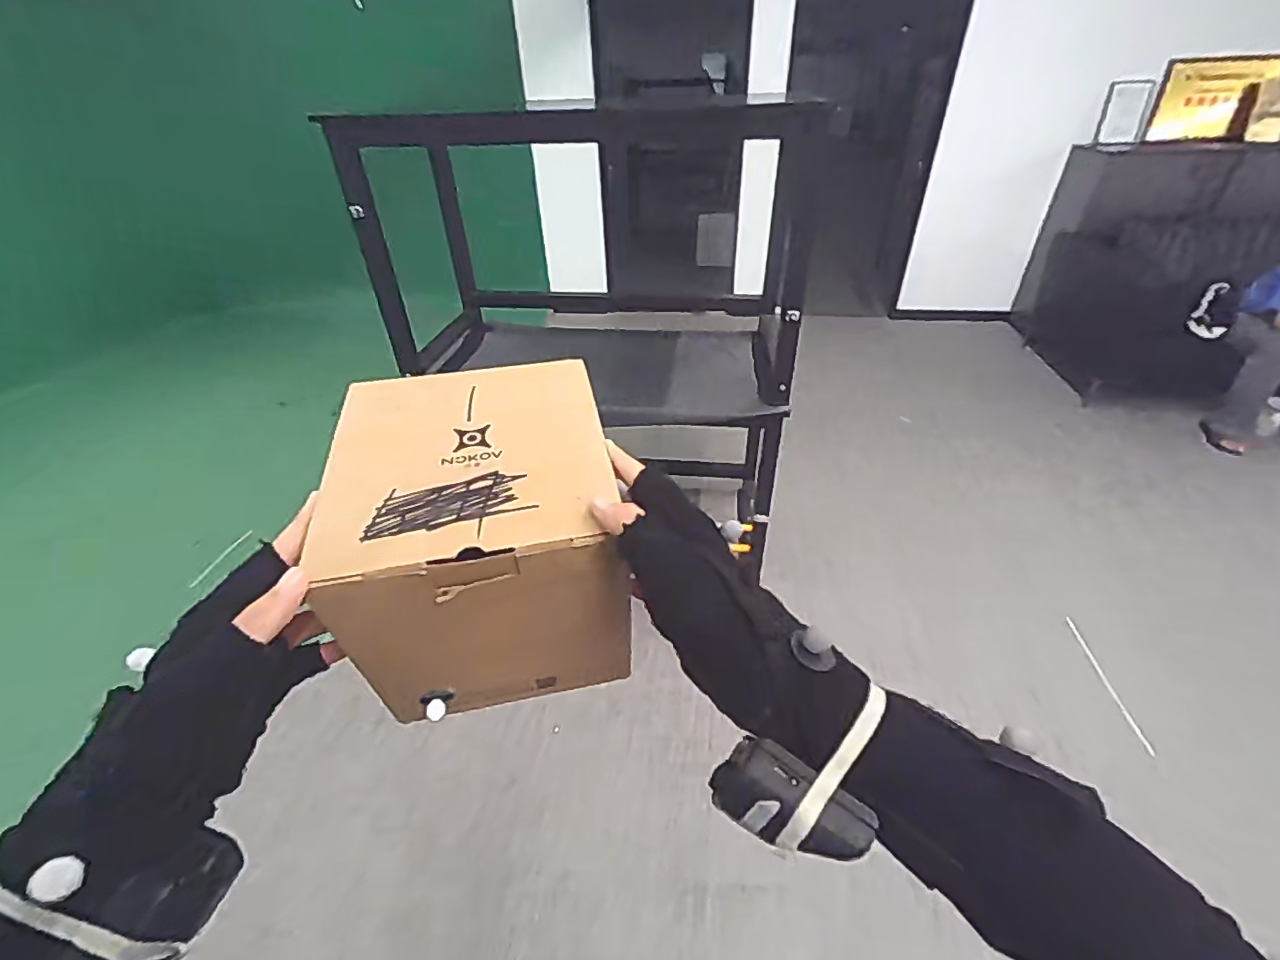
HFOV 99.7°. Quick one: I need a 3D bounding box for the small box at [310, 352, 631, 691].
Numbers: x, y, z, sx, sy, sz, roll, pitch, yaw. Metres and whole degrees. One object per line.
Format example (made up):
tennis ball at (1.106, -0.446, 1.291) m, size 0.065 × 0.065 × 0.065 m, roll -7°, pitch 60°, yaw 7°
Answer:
small box at (-0.101, 0.032, 0.391) m, size 0.168 × 0.176 × 0.179 m, roll -8°, pitch 44°, yaw -9°
